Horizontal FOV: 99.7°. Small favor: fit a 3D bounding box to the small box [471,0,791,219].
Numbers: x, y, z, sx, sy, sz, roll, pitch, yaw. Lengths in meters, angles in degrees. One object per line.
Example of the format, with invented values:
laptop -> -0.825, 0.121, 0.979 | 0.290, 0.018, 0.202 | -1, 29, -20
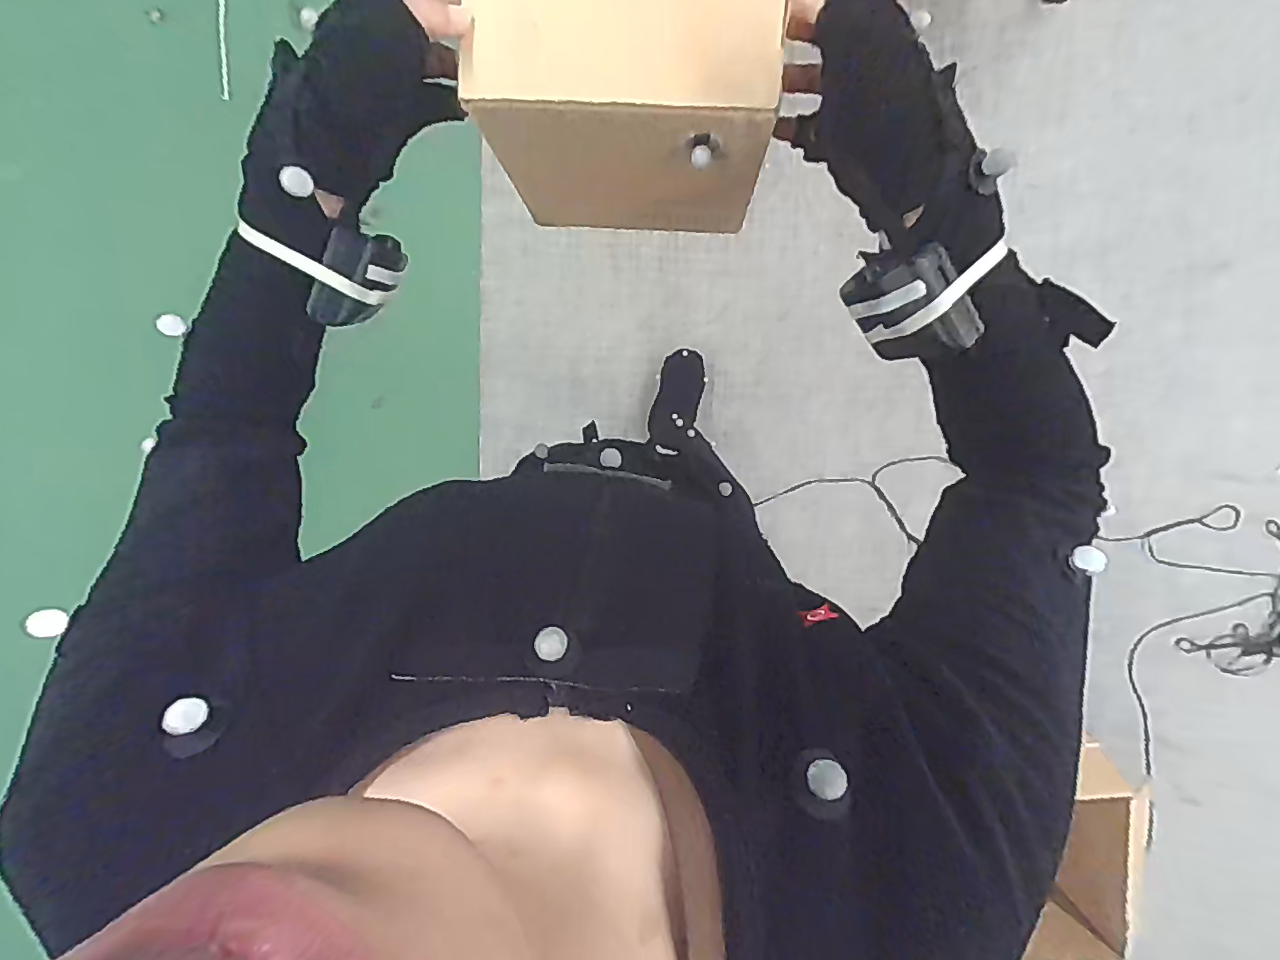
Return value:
small box -> 0.000, -0.297, 0.371 | 0.179, 0.176, 0.168 | 3, 94, 2
